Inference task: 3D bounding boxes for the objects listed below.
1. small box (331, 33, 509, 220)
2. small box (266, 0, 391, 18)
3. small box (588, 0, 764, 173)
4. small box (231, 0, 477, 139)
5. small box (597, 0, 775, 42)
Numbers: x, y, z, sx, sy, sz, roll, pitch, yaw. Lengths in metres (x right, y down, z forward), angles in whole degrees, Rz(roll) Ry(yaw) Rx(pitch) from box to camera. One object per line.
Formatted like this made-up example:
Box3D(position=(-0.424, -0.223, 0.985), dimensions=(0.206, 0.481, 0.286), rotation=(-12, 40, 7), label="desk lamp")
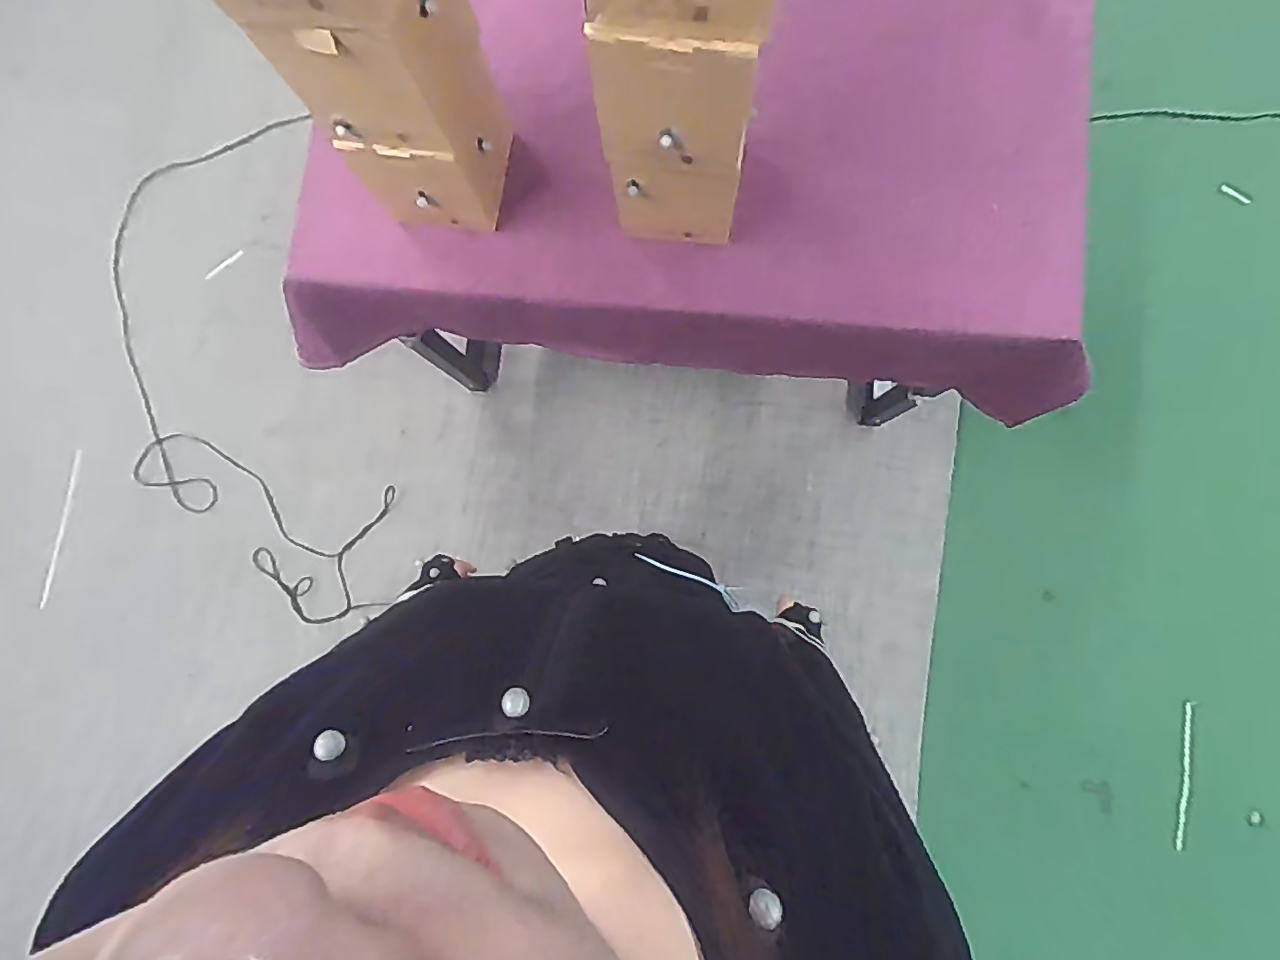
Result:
Box3D(position=(-0.297, -0.500, 0.767), dimensions=(0.168, 0.176, 0.179), rotation=(9, 86, 2), label="small box")
Box3D(position=(-0.304, -0.532, 0.441), dimensions=(0.168, 0.176, 0.179), rotation=(8, 85, 2), label="small box")
Box3D(position=(0.048, -0.478, 0.587), dimensions=(0.168, 0.176, 0.179), rotation=(11, 85, 3), label="small box")
Box3D(position=(-0.299, -0.522, 0.603), dimensions=(0.168, 0.176, 0.179), rotation=(10, 84, 3), label="small box")
Box3D(position=(0.047, -0.504, 0.426), dimensions=(0.168, 0.176, 0.179), rotation=(8, 85, 3), label="small box")
